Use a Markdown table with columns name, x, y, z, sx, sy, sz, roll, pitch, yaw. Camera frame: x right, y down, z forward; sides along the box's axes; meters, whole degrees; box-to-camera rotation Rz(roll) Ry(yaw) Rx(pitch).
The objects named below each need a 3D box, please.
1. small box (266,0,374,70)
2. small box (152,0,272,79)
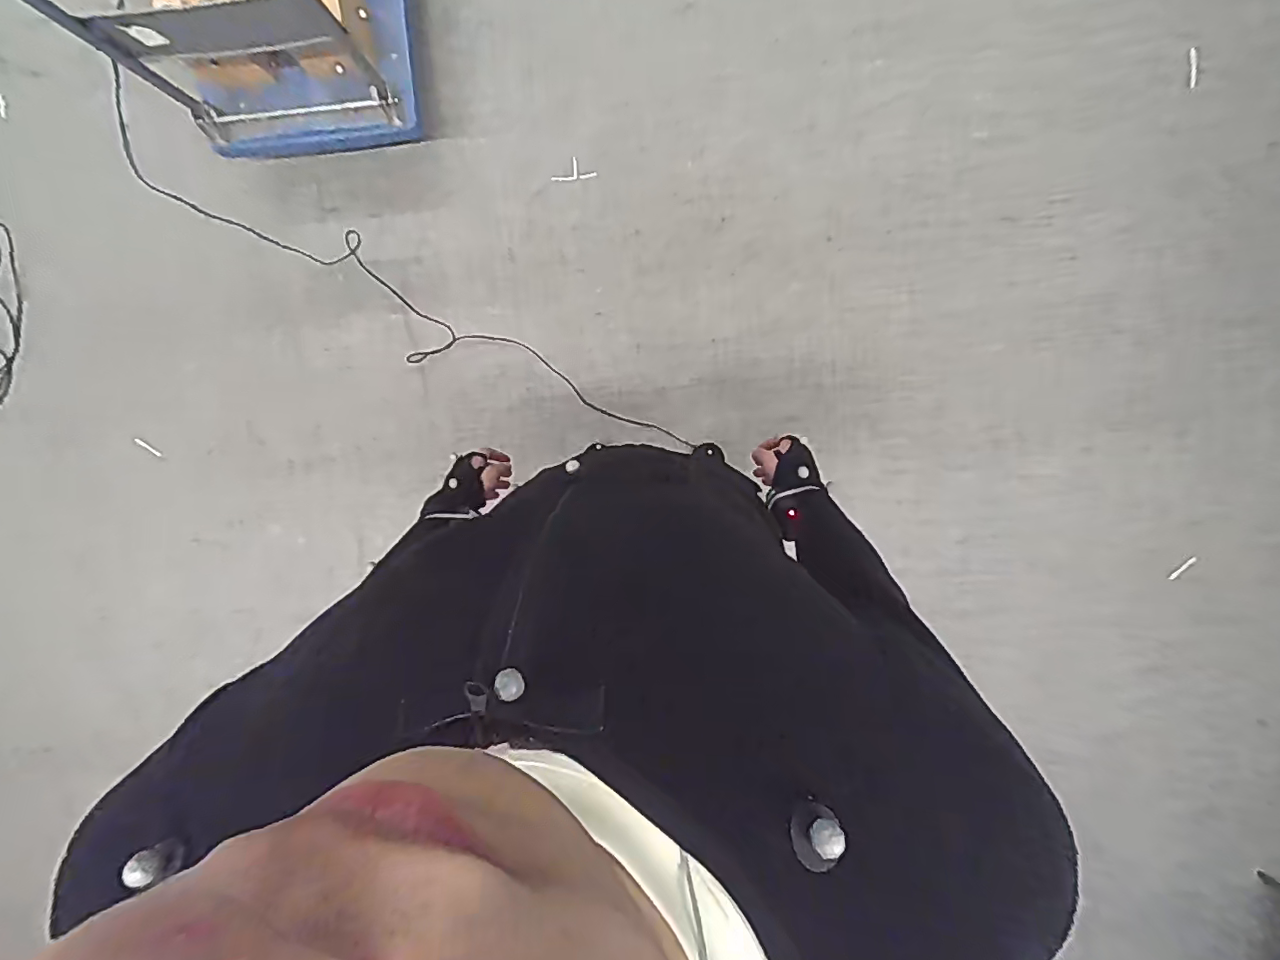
| name | x | y | z | sx | sy | sz | roll | pitch | yaw |
| --- | --- | --- | --- | --- | --- | --- | --- | --- | --- |
| small box | -0.766 | -1.133 | 1.303 | 0.179 | 0.176 | 0.168 | -6 | 95 | 2 |
| small box | -1.029 | -1.115 | 1.314 | 0.179 | 0.176 | 0.168 | -1 | 95 | 3 |
